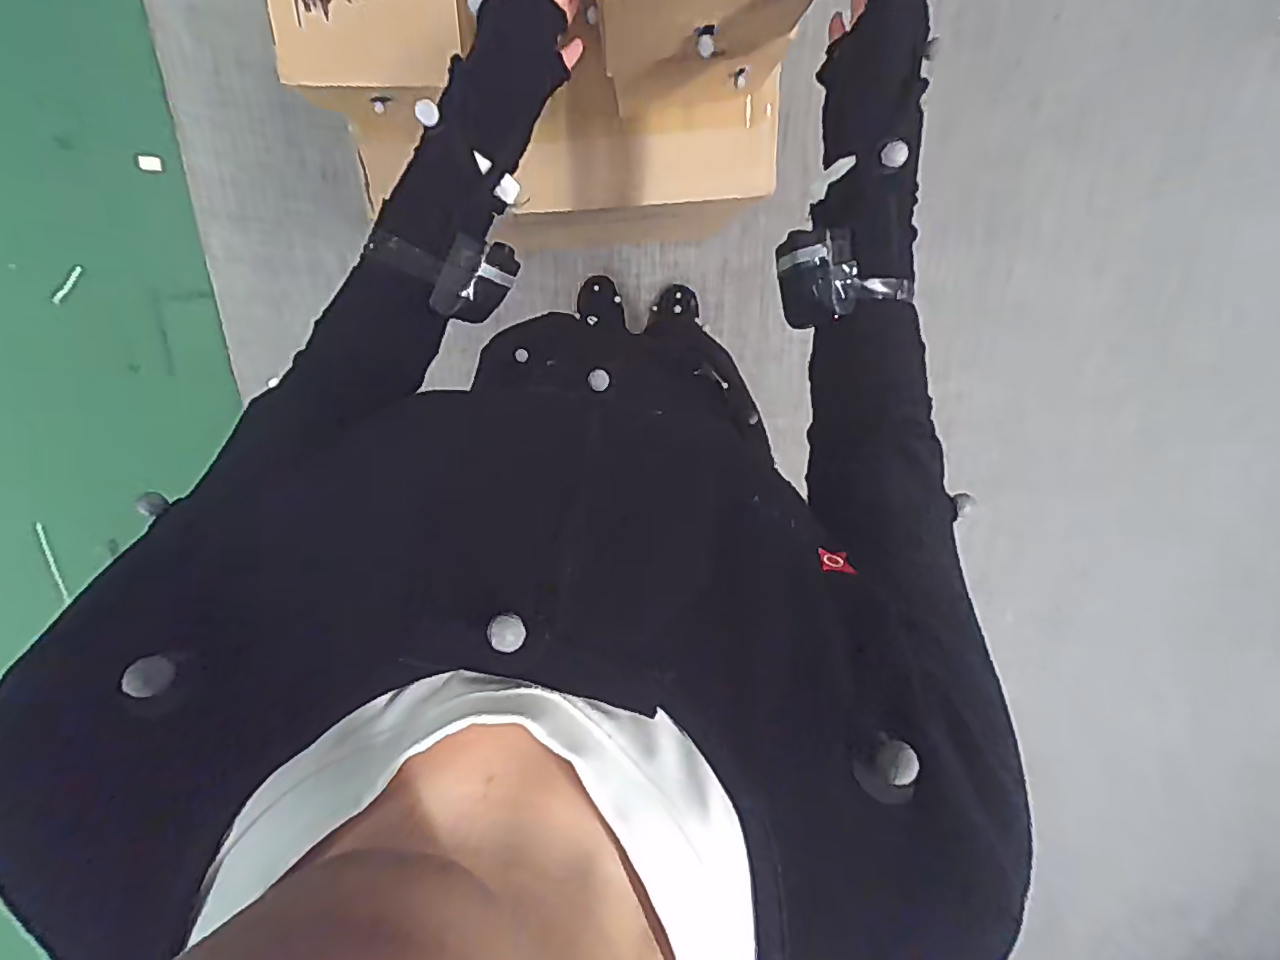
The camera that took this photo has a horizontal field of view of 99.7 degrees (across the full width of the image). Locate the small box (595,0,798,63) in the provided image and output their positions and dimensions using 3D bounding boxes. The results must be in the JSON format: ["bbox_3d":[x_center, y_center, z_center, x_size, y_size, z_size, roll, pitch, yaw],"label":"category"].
[{"bbox_3d":[0.039,-0.445,0.406,0.168,0.176,0.179,-7,112,1],"label":"small box"}]

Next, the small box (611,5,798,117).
[{"bbox_3d":[0.049,-0.505,0.558,0.179,0.176,0.168,-10,110,5],"label":"small box"}]

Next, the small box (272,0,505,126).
[{"bbox_3d":[-0.251,-0.482,0.563,0.179,0.176,0.168,0,112,-1],"label":"small box"}]
